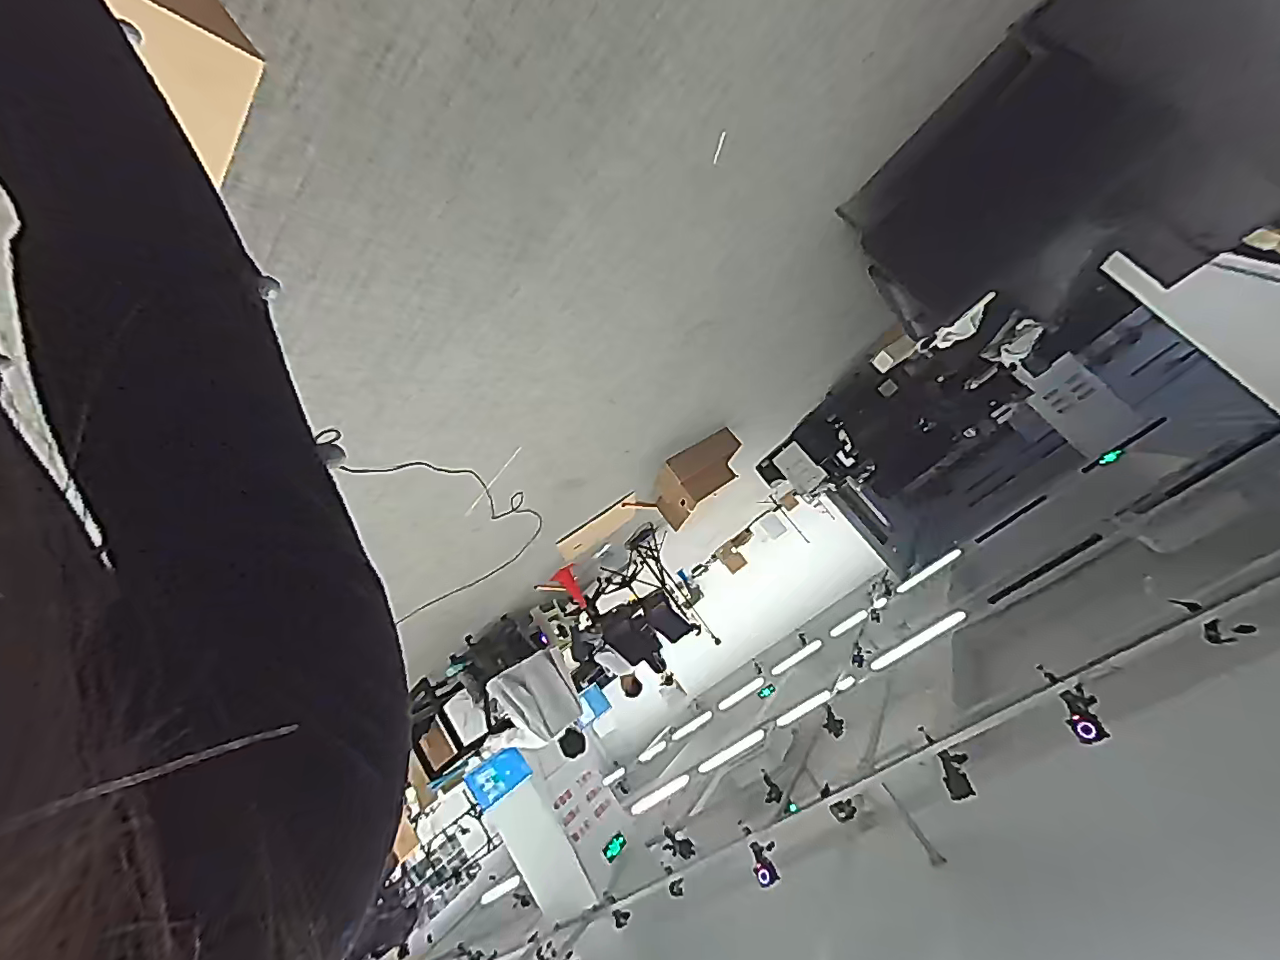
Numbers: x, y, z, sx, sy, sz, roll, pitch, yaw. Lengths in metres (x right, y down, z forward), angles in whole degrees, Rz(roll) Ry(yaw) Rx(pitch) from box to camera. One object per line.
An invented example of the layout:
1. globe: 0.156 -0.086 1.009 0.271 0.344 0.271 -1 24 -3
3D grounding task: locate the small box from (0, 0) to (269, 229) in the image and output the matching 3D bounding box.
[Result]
1. small box: -0.441 -0.339 0.417 0.168 0.176 0.179 -46 163 24
